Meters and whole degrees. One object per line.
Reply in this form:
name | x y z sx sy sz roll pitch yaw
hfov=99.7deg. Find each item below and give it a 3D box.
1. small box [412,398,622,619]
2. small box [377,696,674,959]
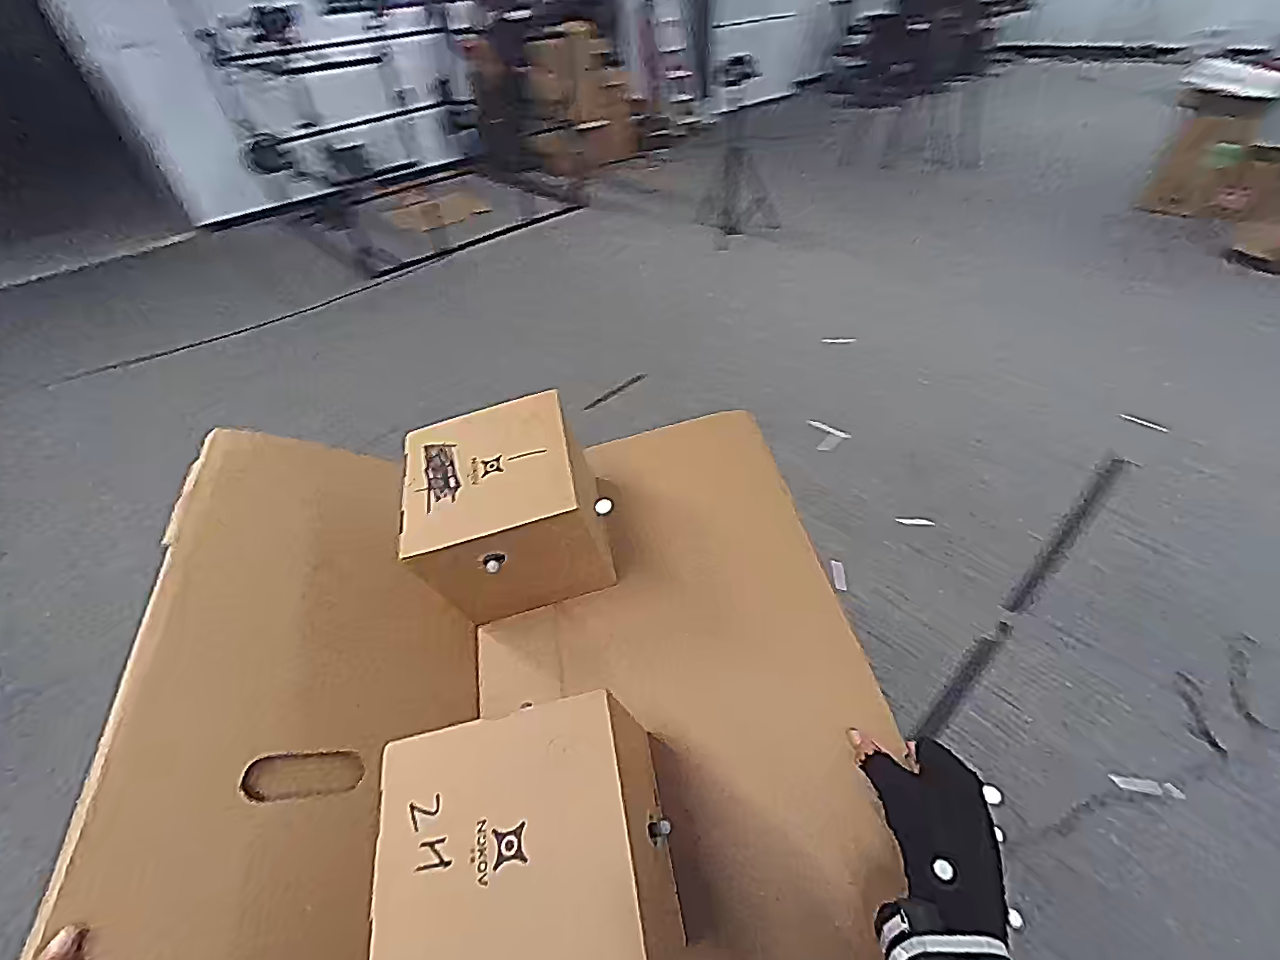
small box | -0.133 0.040 0.621 0.179 0.176 0.168 -15 53 2
small box | -0.074 0.289 0.428 0.179 0.176 0.168 -14 53 4
